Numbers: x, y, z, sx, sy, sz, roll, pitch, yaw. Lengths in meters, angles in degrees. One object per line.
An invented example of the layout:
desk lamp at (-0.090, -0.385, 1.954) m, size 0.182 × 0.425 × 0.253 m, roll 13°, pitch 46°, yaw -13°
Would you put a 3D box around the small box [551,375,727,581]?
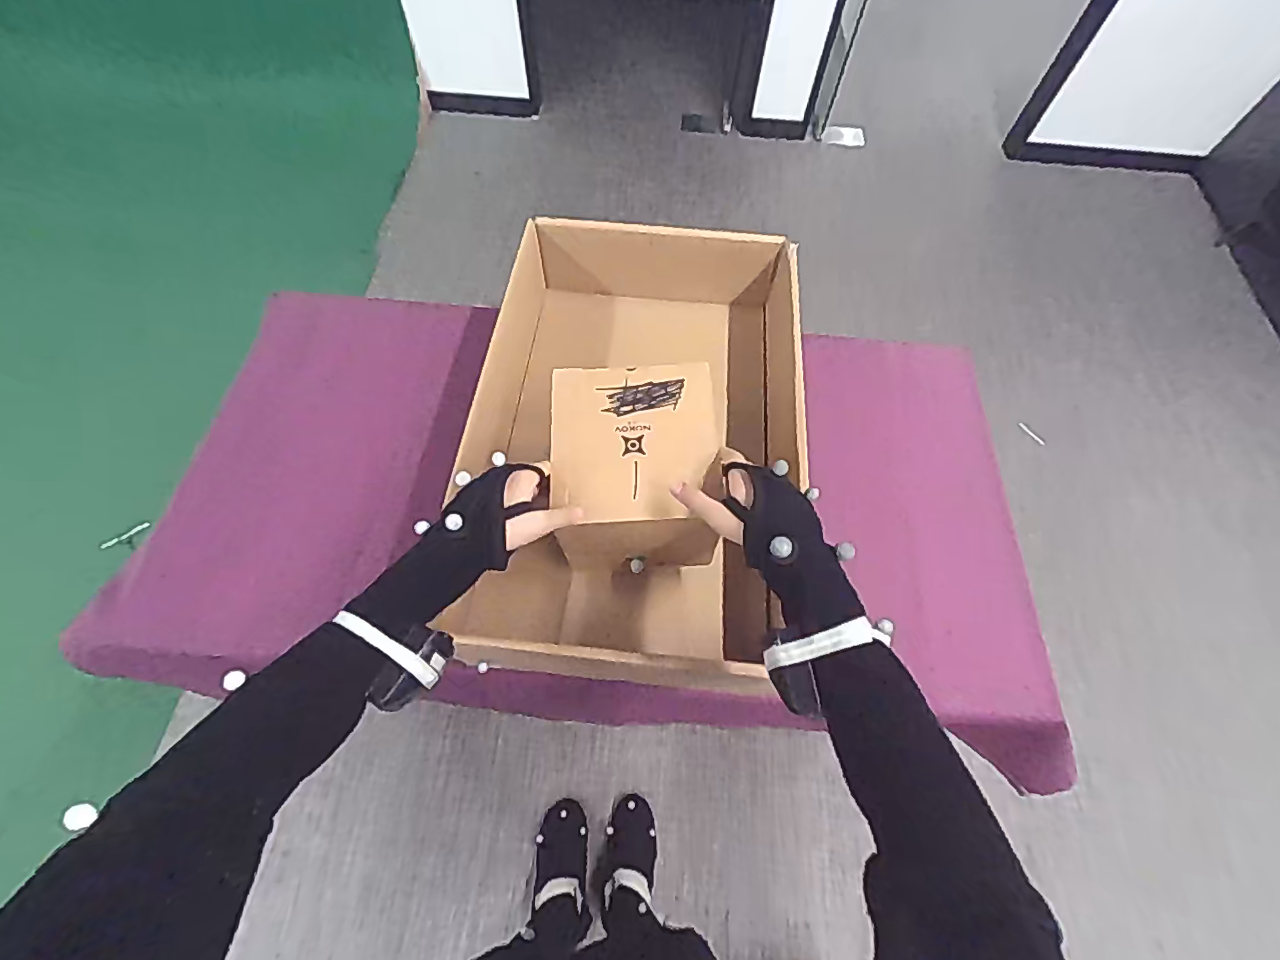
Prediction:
small box at (-0.002, 0.005, 0.603) m, size 0.168 × 0.176 × 0.179 m, roll -3°, pitch 65°, yaw 1°
